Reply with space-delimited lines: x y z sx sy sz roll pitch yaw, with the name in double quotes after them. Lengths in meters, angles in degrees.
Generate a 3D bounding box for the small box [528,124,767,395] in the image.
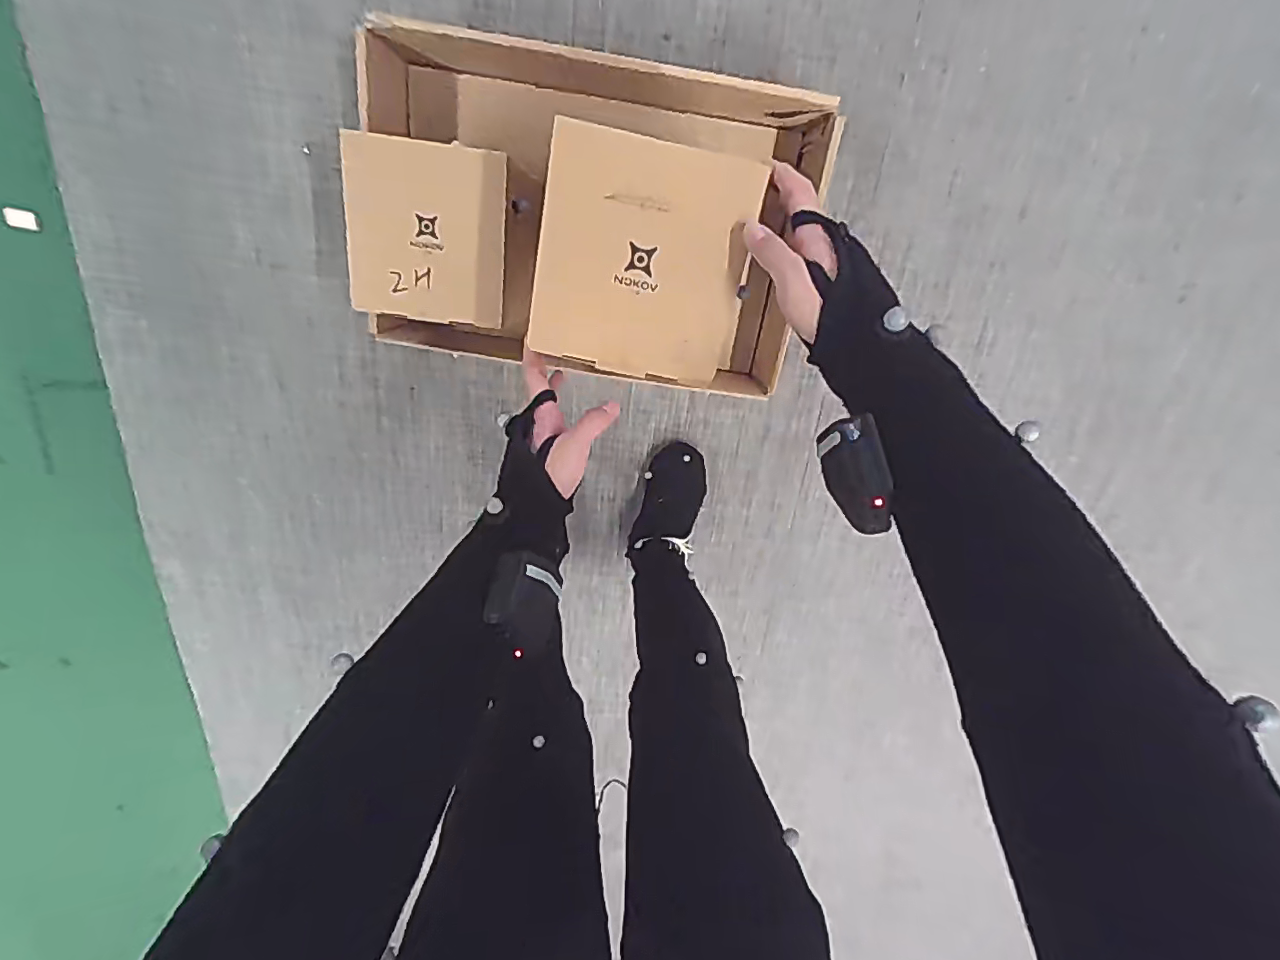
0.005 -0.201 0.510 0.168 0.176 0.179 13 114 -3 "small box"

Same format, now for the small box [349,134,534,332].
-0.224 -0.285 0.648 0.168 0.176 0.179 7 112 -3 "small box"
